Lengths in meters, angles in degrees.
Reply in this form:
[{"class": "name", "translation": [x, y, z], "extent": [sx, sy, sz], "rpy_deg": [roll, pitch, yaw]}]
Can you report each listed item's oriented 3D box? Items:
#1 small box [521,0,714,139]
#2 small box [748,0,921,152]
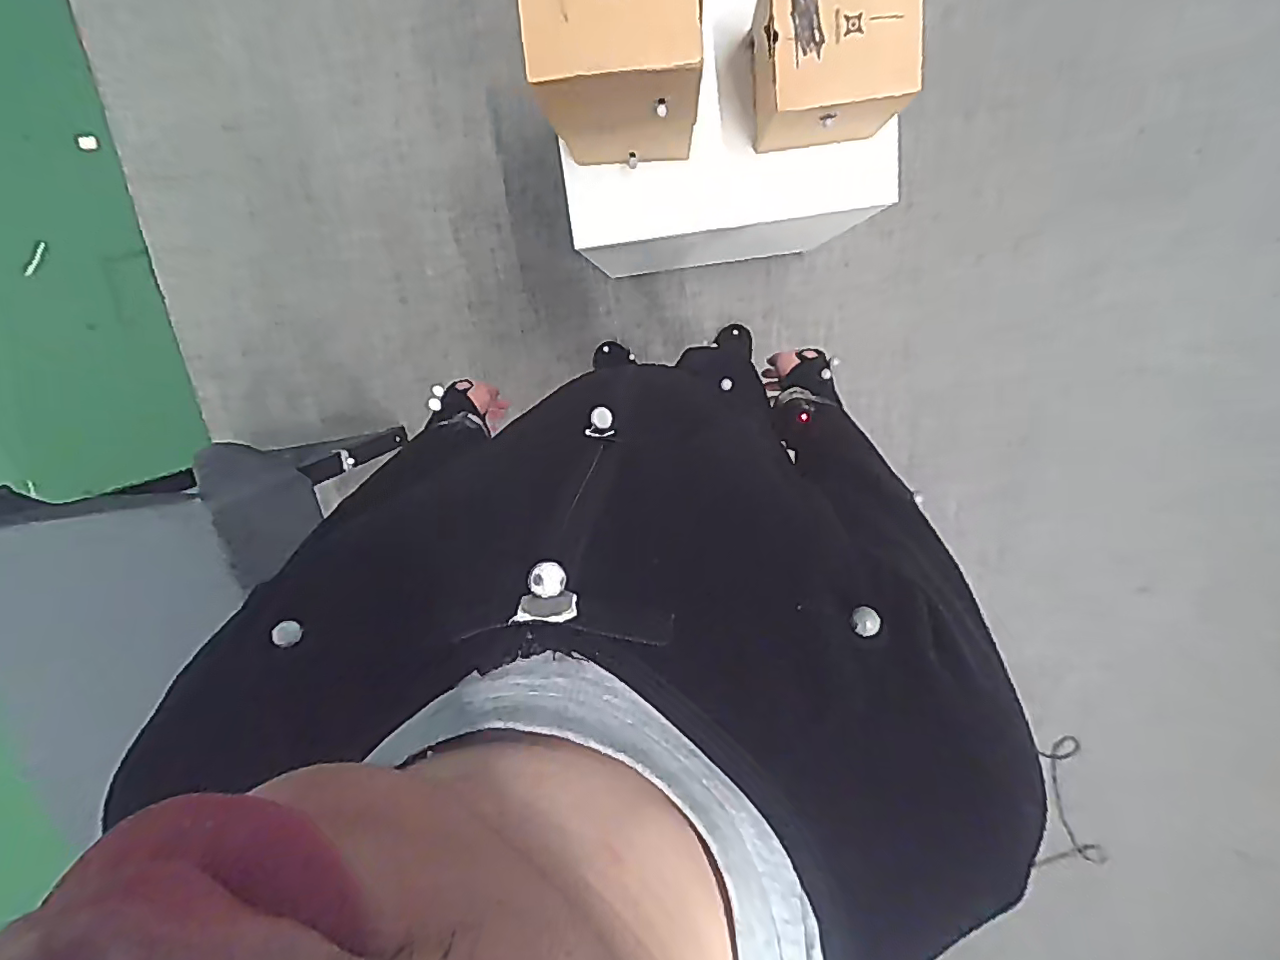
[{"class": "small box", "translation": [-0.023, -0.483, 0.563], "extent": [0.179, 0.176, 0.168], "rpy_deg": [-5, 104, 3]}, {"class": "small box", "translation": [0.242, -0.554, 0.709], "extent": [0.179, 0.176, 0.168], "rpy_deg": [-7, 105, 2]}]
